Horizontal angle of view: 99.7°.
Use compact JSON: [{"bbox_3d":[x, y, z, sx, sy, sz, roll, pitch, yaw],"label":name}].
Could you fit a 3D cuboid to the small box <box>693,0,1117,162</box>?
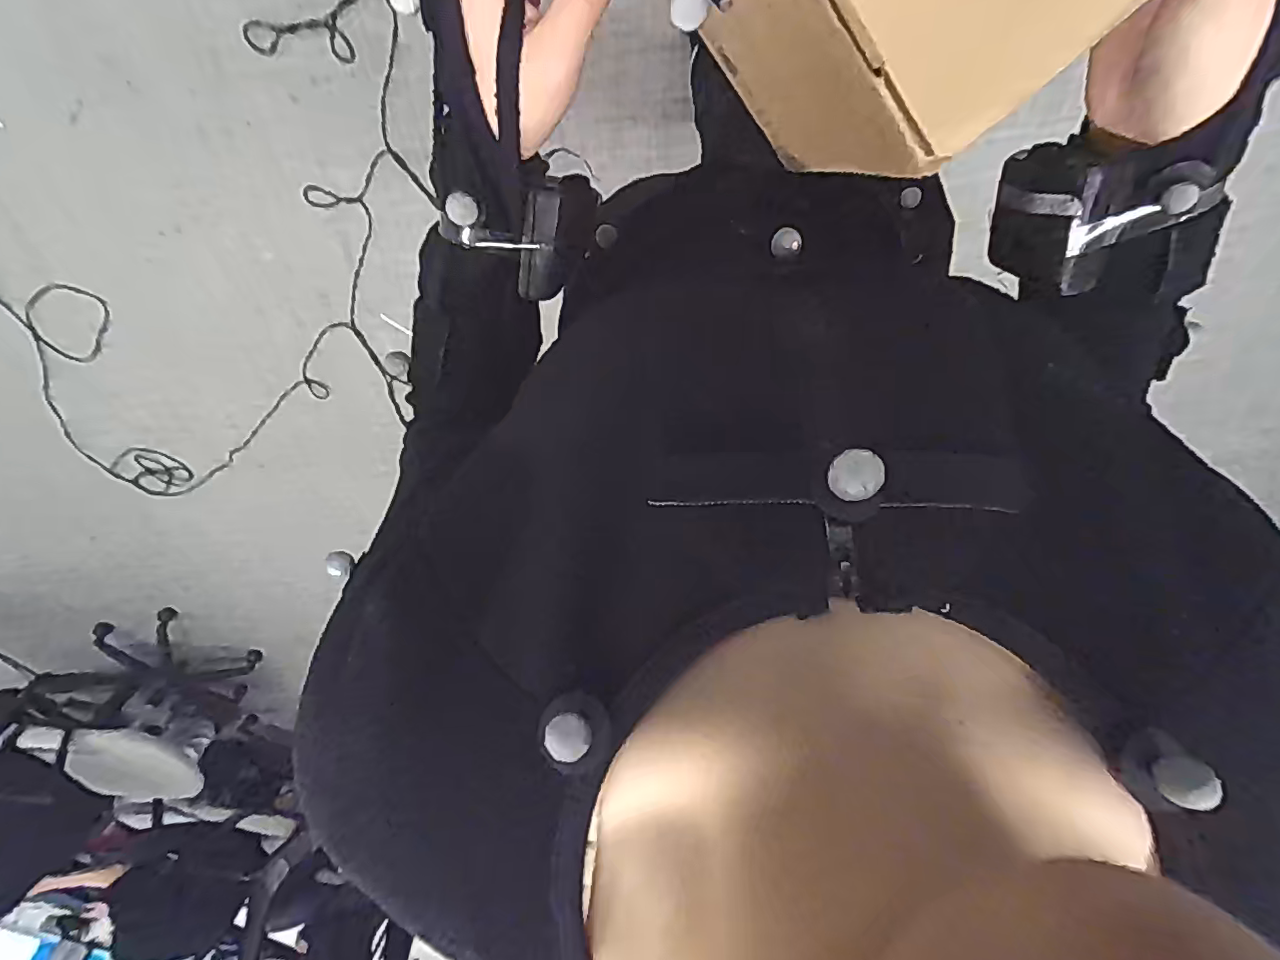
[{"bbox_3d":[0.092,-0.232,0.171,0.179,0.176,0.168,-38,113,20],"label":"small box"}]
